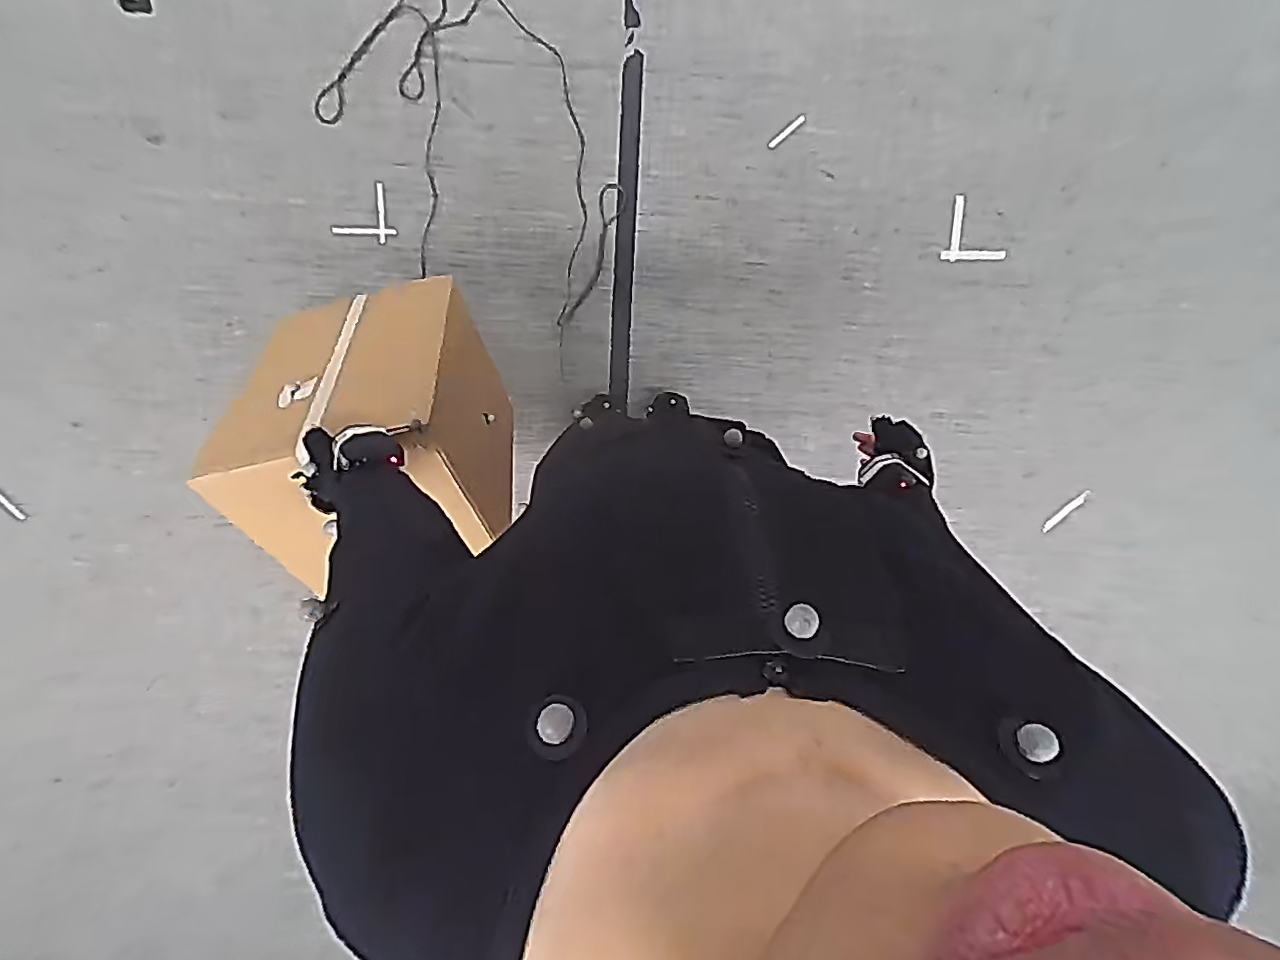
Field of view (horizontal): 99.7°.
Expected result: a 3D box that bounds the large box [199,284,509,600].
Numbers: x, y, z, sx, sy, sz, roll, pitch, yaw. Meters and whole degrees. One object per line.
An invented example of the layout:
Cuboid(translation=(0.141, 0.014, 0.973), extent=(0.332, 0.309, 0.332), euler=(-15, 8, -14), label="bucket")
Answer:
Cuboid(translation=(-0.420, -0.071, 0.920), extent=(0.320, 0.408, 0.320), euler=(-14, 137, 1), label="large box")
